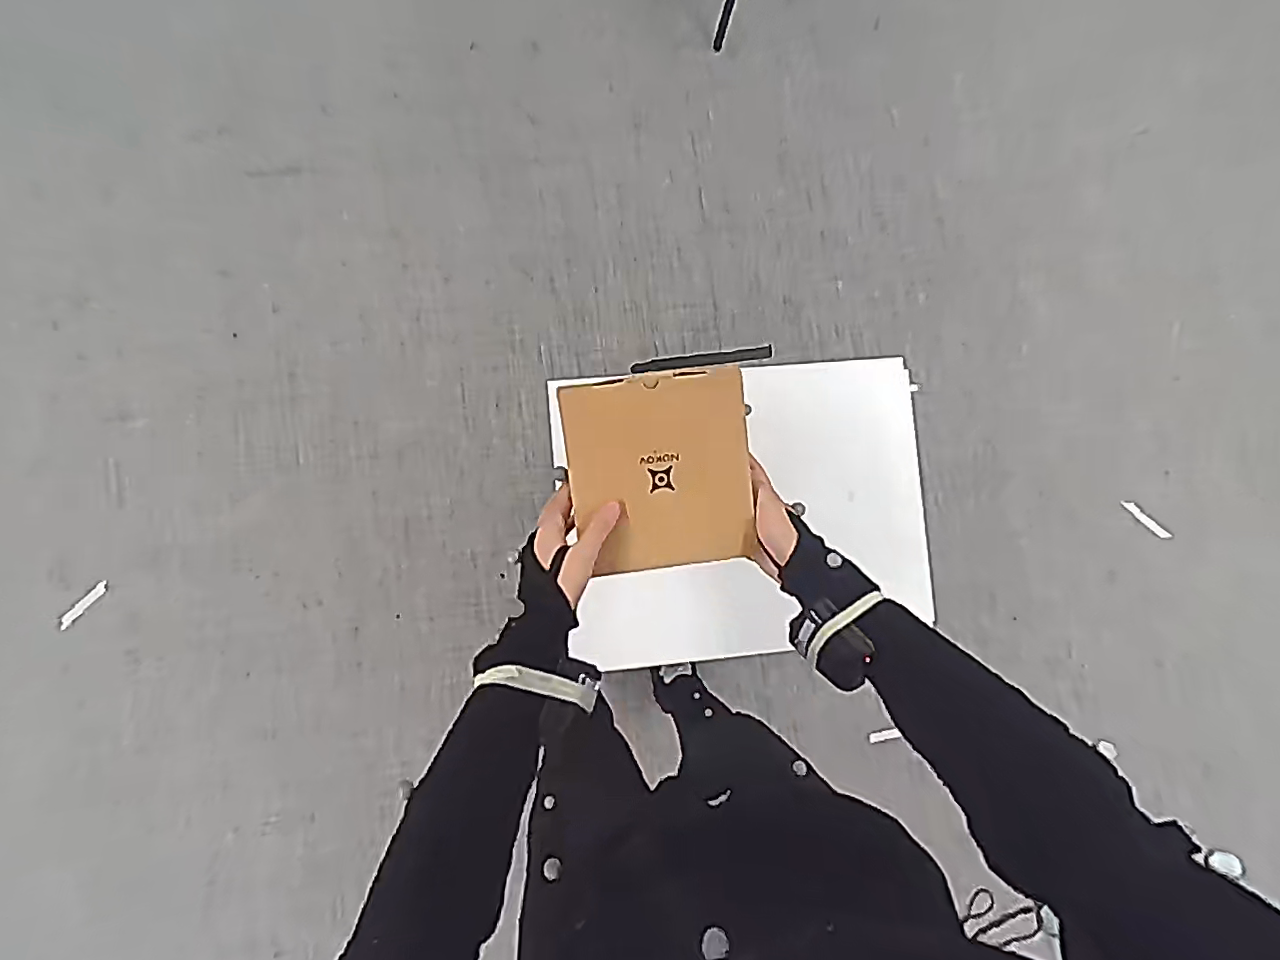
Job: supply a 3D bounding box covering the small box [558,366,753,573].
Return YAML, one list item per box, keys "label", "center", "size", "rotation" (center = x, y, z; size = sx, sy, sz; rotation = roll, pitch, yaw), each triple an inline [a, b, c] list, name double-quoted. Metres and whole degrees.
- label: "small box"
  center: [0.011, -0.016, 0.570]
  size: [0.168, 0.176, 0.179]
  rotation: [-8, 95, -4]
